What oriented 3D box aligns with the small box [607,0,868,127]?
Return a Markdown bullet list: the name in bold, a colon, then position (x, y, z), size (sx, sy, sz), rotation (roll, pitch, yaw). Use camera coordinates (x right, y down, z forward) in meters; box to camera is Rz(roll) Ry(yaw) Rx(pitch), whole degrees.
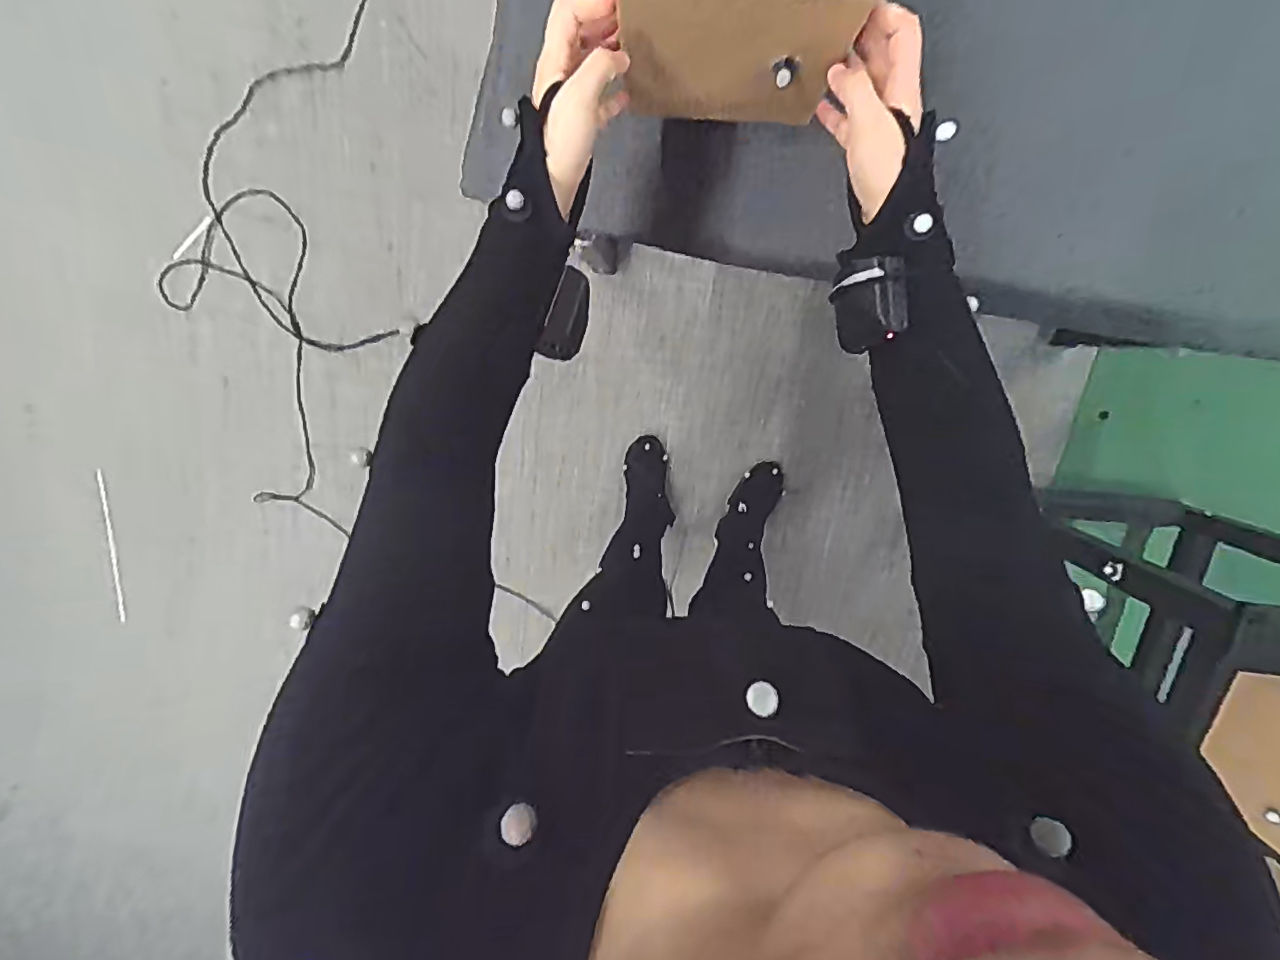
- **small box**: position (0.070, -0.407, 0.424), size (0.179, 0.176, 0.168), rotation (3, 97, 2)
